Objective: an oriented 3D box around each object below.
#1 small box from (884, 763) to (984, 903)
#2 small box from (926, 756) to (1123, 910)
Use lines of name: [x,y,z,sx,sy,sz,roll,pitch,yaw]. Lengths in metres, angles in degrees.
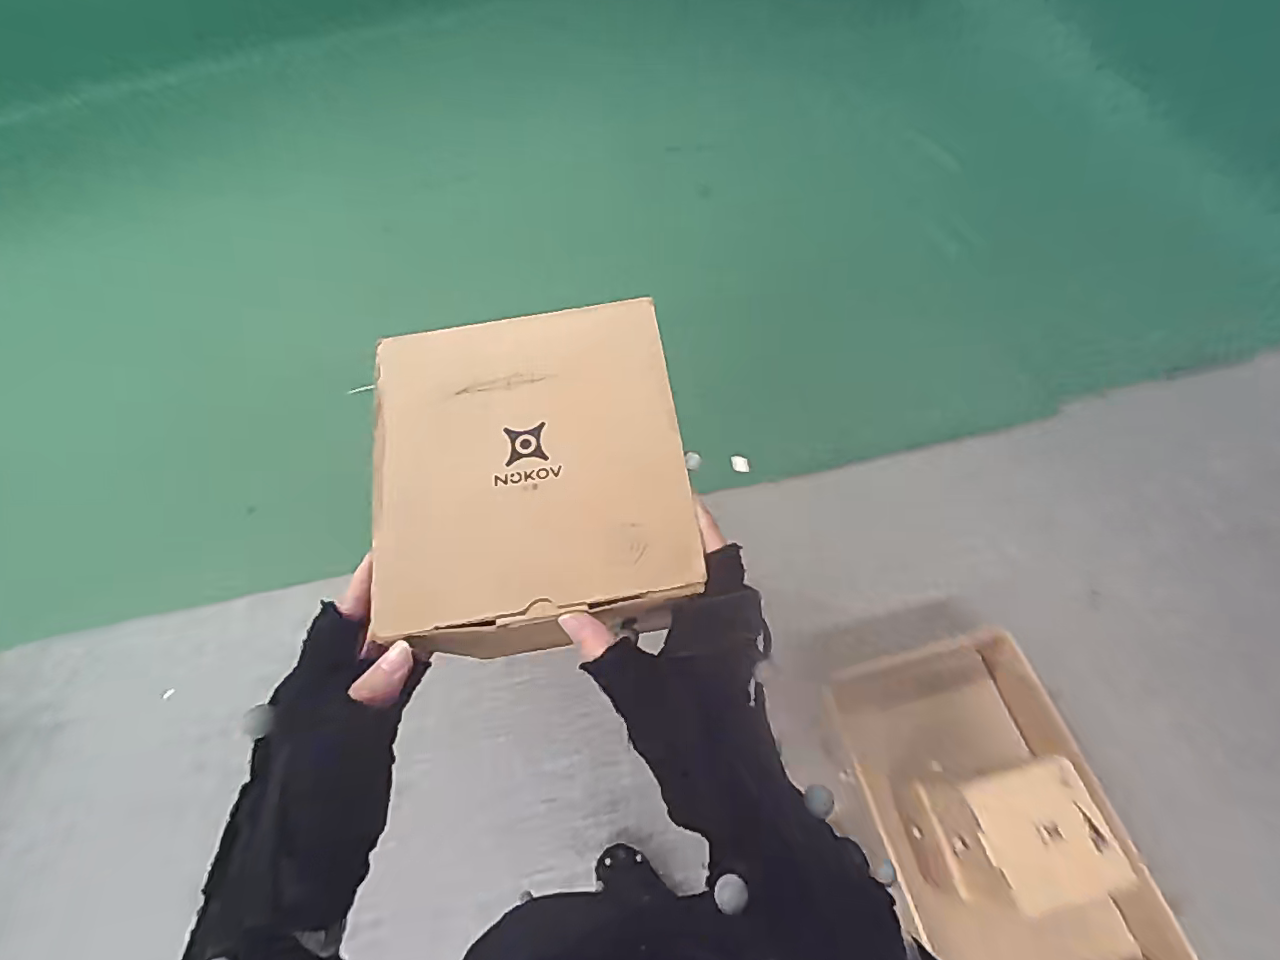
small box: [0.589,0.643,1.008,0.168,0.176,0.179,-15,63,-2]
small box: [0.592,0.556,0.869,0.179,0.176,0.168,-14,61,-1]
